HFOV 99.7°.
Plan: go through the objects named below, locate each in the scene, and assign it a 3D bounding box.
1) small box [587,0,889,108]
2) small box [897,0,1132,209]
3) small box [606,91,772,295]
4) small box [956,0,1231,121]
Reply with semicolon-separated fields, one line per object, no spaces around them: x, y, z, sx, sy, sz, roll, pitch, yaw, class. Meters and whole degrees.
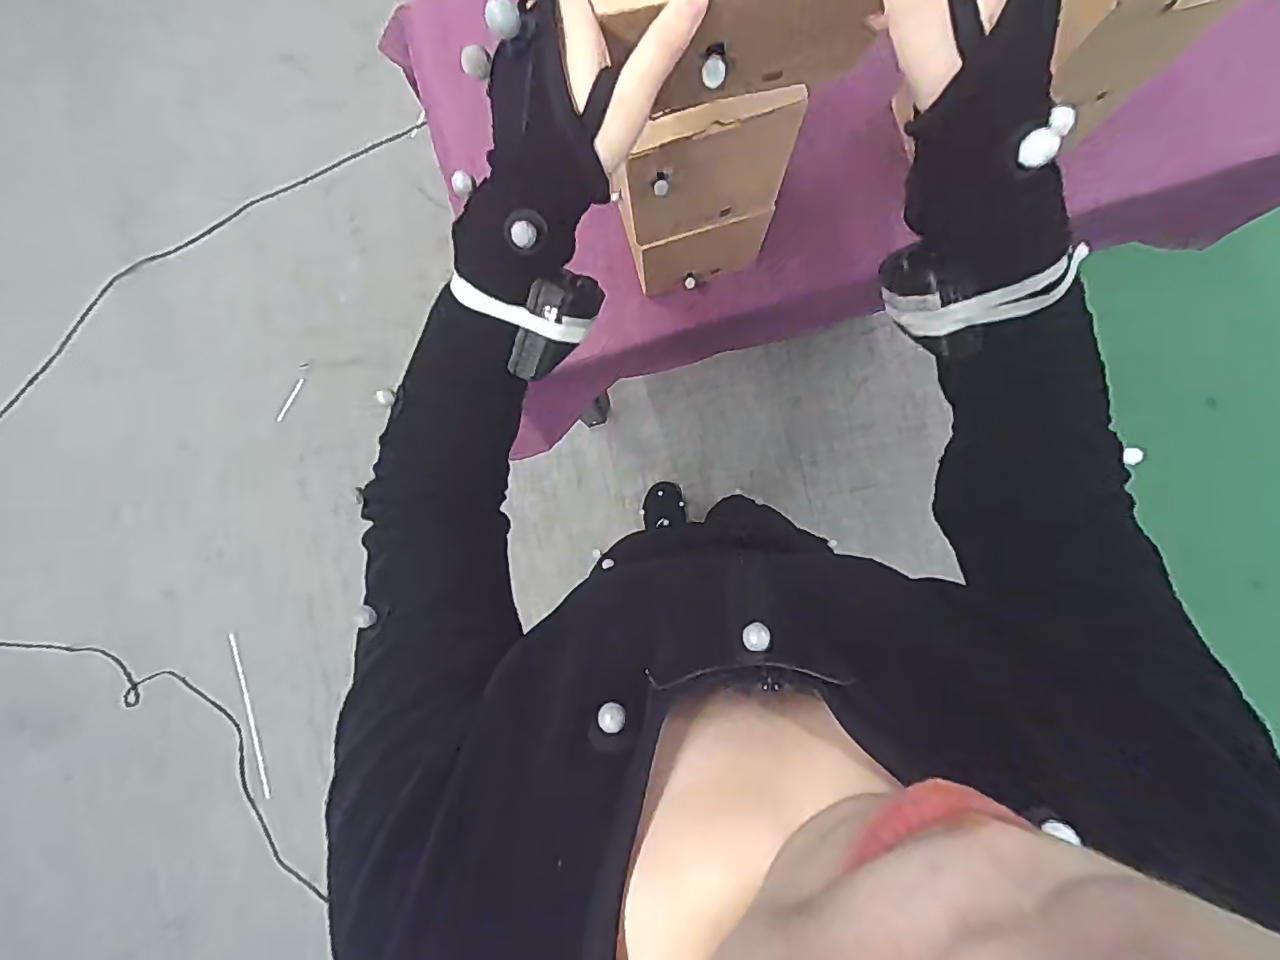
0.053;-0.335;0.299;0.168;0.176;0.179;-6;108;8;small box
0.462;-0.494;0.700;0.168;0.176;0.179;-16;87;3;small box
0.059;-0.374;0.717;0.168;0.176;0.179;-15;89;3;small box
0.455;-0.498;0.535;0.168;0.176;0.179;-17;88;2;small box
